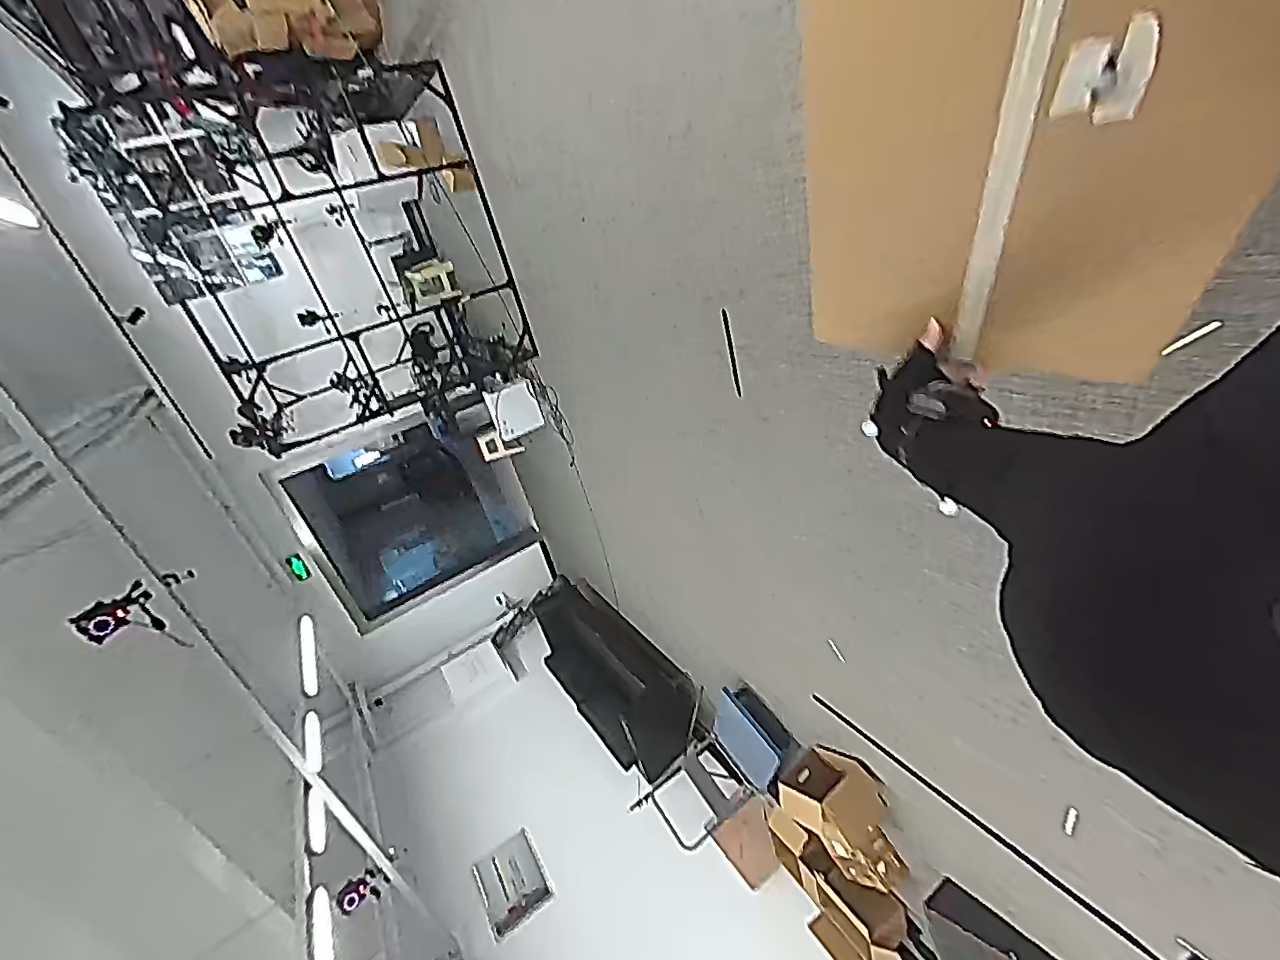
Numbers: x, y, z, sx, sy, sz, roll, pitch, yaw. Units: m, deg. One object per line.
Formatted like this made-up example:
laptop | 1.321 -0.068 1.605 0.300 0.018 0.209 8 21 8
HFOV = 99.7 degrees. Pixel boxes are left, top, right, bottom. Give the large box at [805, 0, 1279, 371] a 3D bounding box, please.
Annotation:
large box | 0.364 -0.365 0.490 0.320 0.320 0.408 15 151 31
